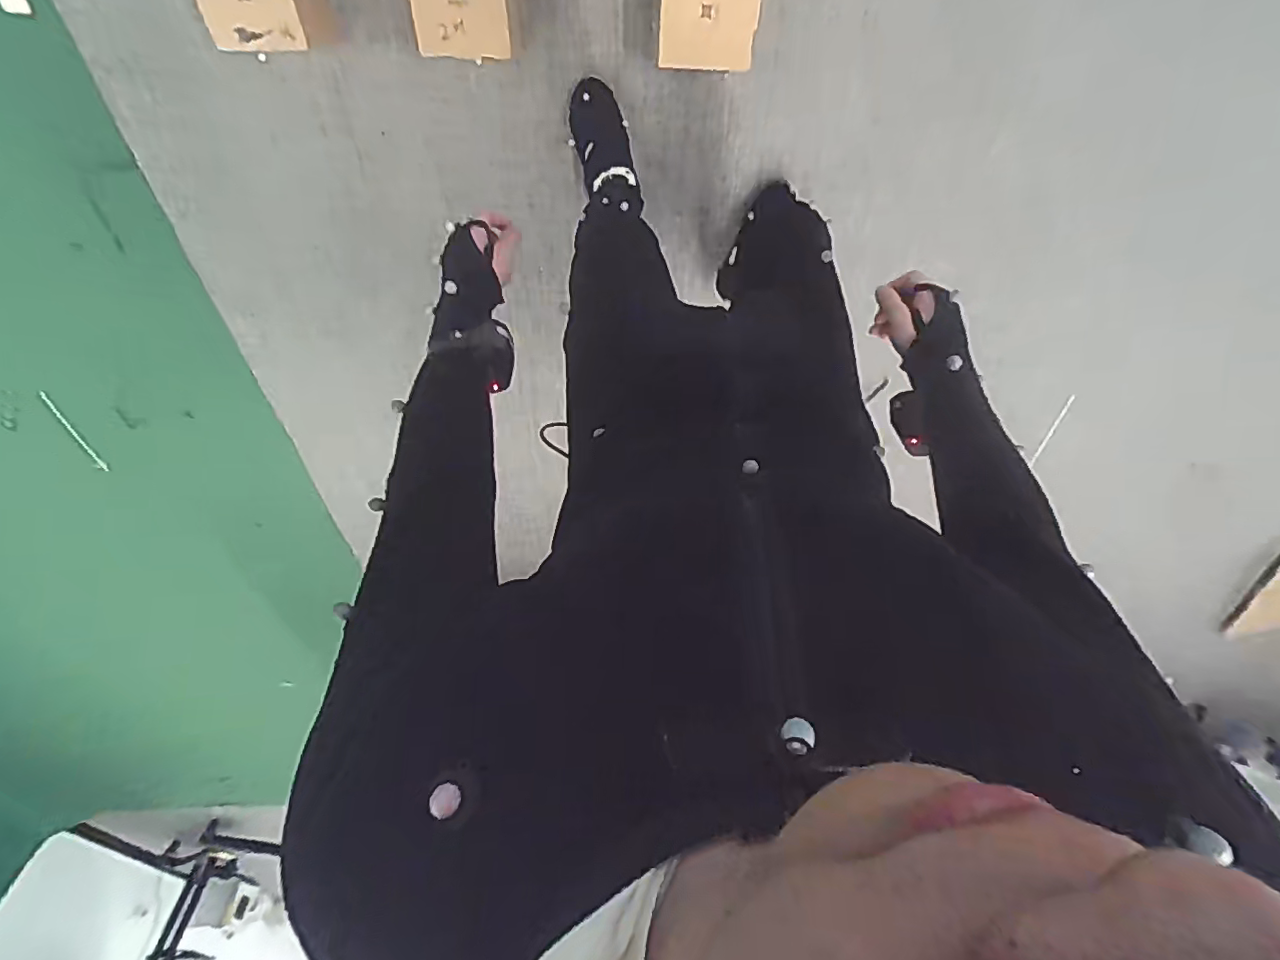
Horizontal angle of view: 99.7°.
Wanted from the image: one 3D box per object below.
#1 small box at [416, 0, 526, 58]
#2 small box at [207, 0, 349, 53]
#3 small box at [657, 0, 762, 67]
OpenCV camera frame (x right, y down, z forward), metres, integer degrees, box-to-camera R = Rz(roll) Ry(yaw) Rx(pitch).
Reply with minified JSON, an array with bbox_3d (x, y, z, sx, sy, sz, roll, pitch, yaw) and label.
[{"bbox_3d":[-0.309,-0.893,0.993,0.168,0.176,0.179,1,132,-1],"label":"small box"},{"bbox_3d":[-0.667,-0.894,0.985,0.168,0.176,0.179,0,131,0],"label":"small box"},{"bbox_3d":[0.125,-0.886,1.011,0.179,0.176,0.168,0,132,-2],"label":"small box"}]
